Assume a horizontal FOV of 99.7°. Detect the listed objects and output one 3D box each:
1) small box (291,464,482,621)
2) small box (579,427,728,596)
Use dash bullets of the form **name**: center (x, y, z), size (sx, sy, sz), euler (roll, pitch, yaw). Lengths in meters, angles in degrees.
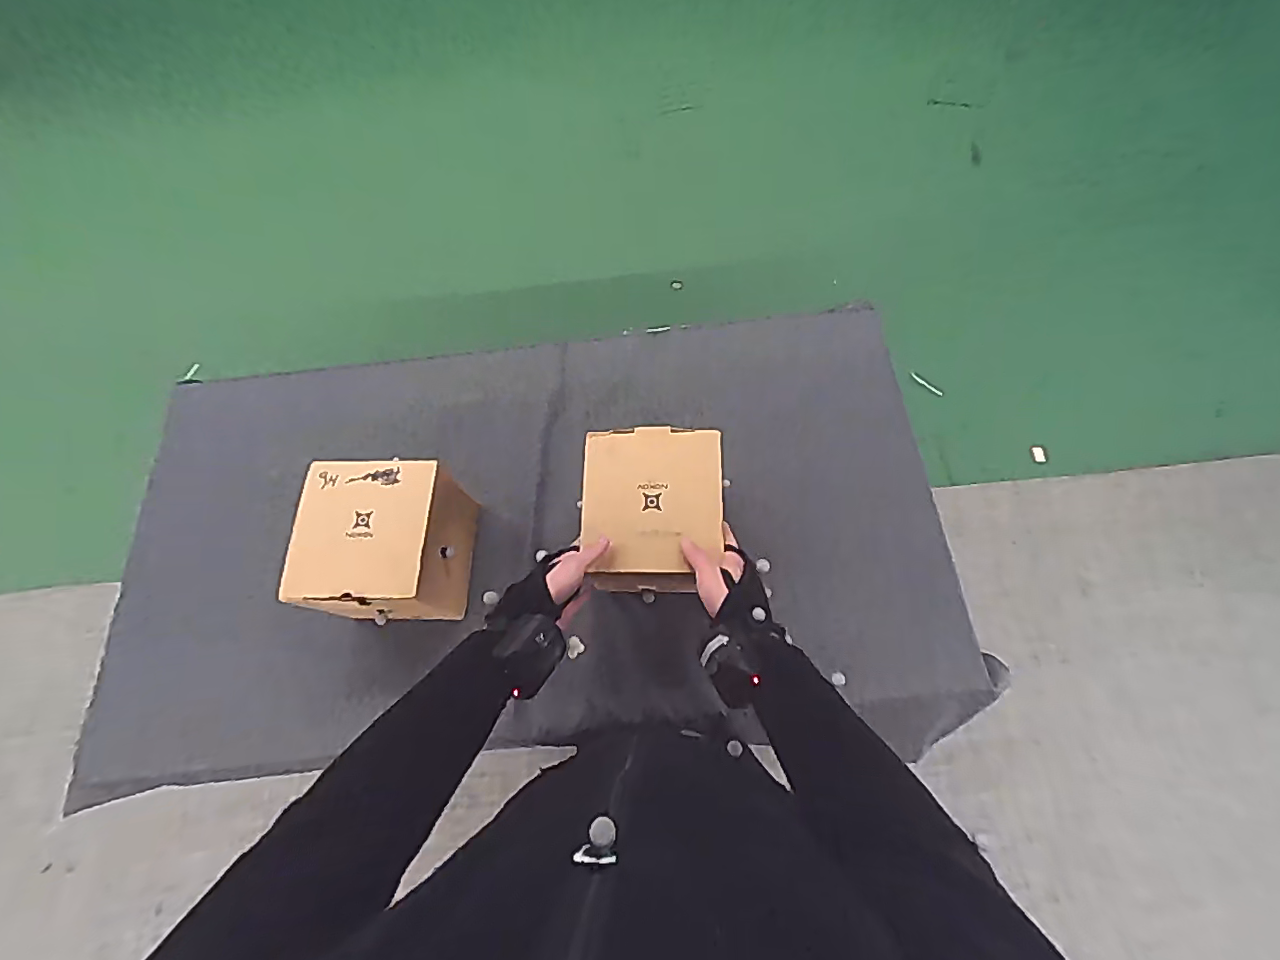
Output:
- **small box**: center (-0.324, 0.094, 0.731), size (0.168, 0.176, 0.179), euler (-3, 67, 3)
- **small box**: center (0.026, 0.045, 0.689), size (0.168, 0.176, 0.179), euler (0, 71, 7)
